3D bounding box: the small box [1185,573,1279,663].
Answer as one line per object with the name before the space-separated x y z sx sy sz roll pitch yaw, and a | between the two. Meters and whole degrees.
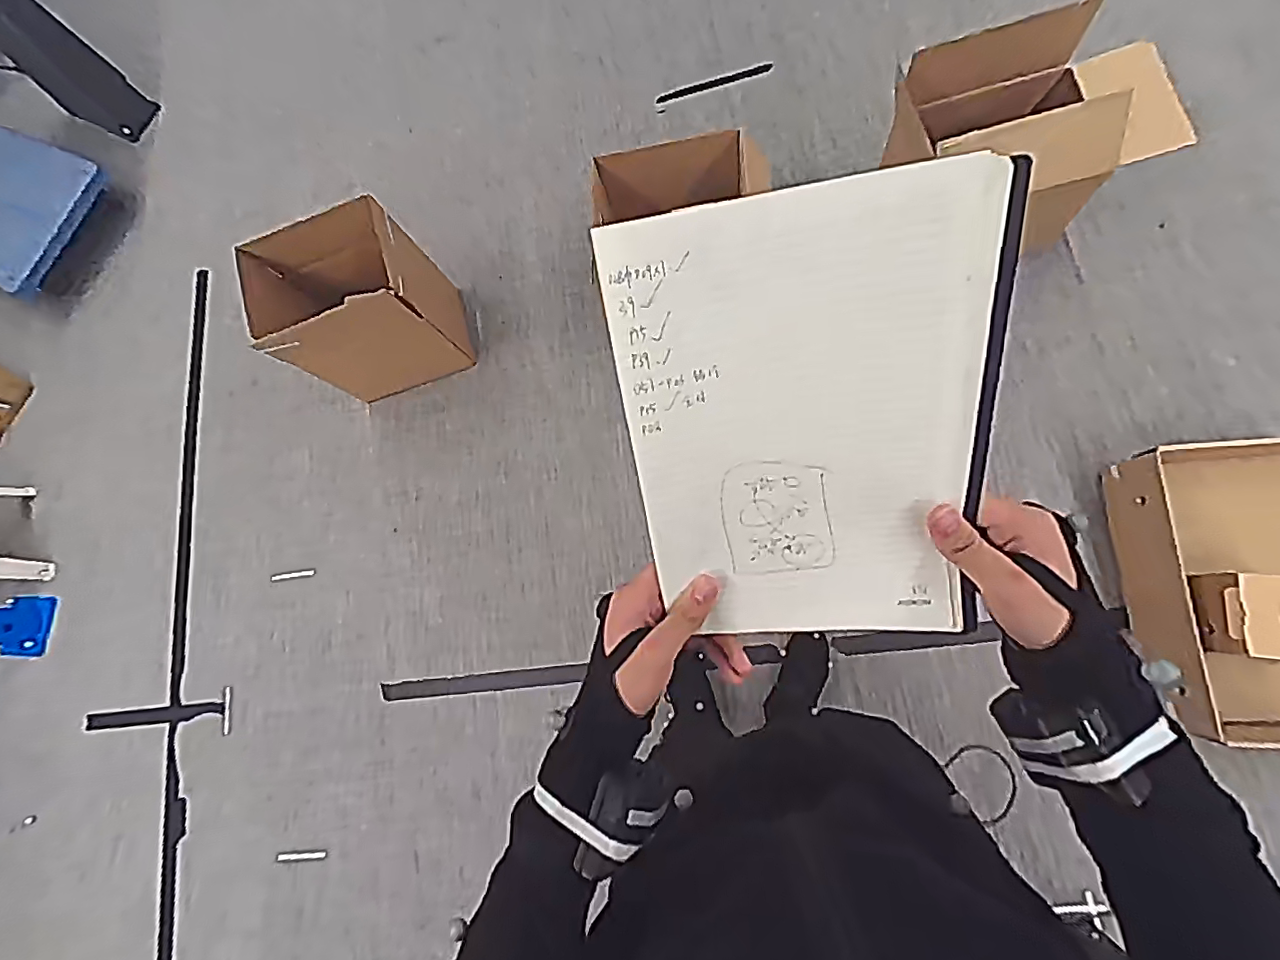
small box | 1.294 0.291 1.128 0.179 0.176 0.168 4 78 12
